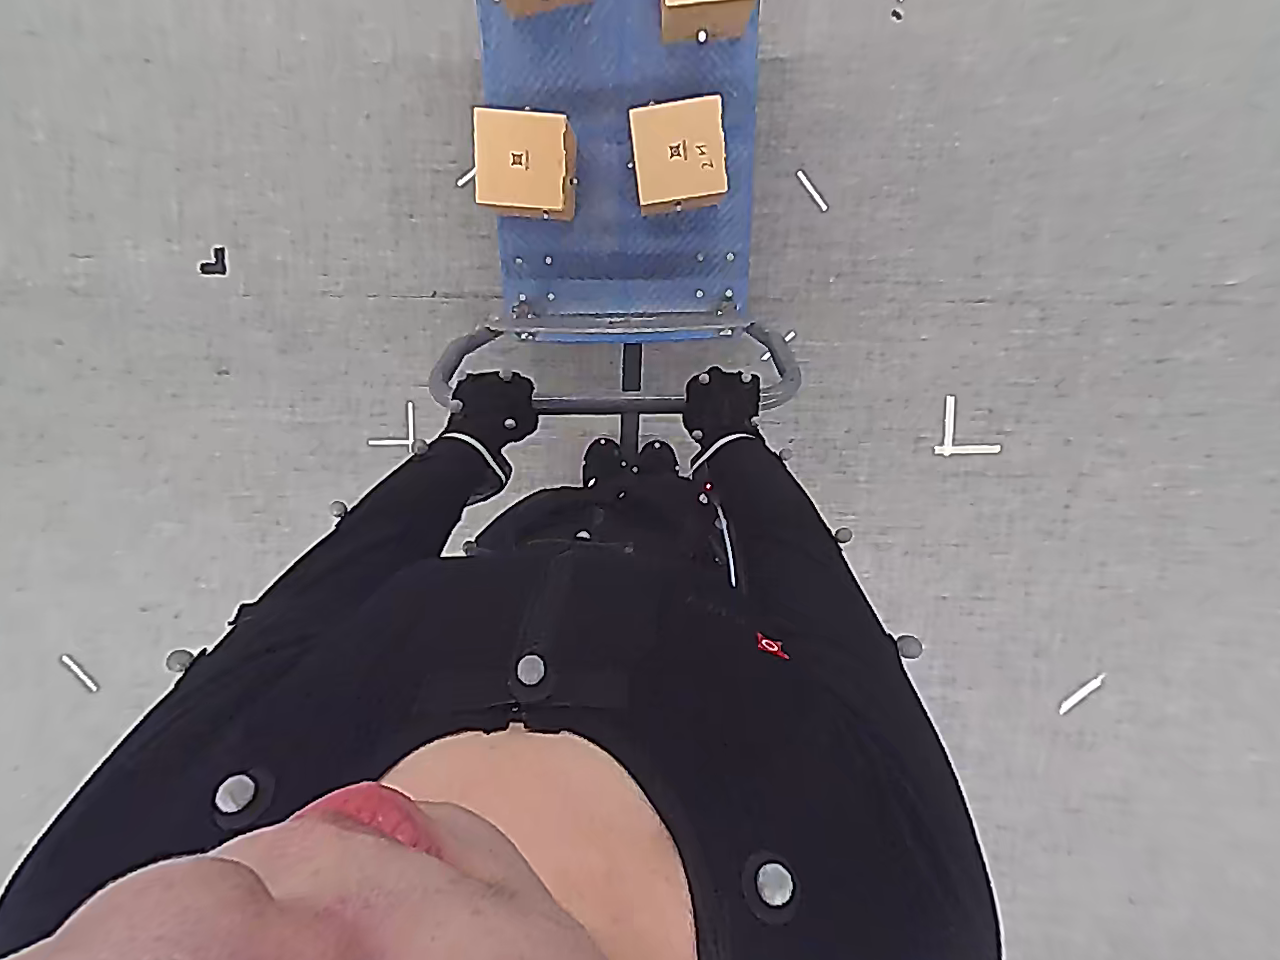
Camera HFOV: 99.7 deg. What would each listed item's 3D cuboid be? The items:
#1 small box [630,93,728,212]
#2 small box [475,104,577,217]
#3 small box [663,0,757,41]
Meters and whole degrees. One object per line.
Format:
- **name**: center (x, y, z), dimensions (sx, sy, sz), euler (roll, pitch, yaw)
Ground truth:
- **small box**: center (0.079, -0.658, 1.106), dimensions (0.179, 0.176, 0.168), euler (-6, 110, 4)
- **small box**: center (-0.229, -0.649, 1.117), dimensions (0.179, 0.176, 0.168), euler (4, 109, -2)
- **small box**: center (0.124, -0.957, 0.999), dimensions (0.168, 0.176, 0.179), euler (-4, 110, 3)
